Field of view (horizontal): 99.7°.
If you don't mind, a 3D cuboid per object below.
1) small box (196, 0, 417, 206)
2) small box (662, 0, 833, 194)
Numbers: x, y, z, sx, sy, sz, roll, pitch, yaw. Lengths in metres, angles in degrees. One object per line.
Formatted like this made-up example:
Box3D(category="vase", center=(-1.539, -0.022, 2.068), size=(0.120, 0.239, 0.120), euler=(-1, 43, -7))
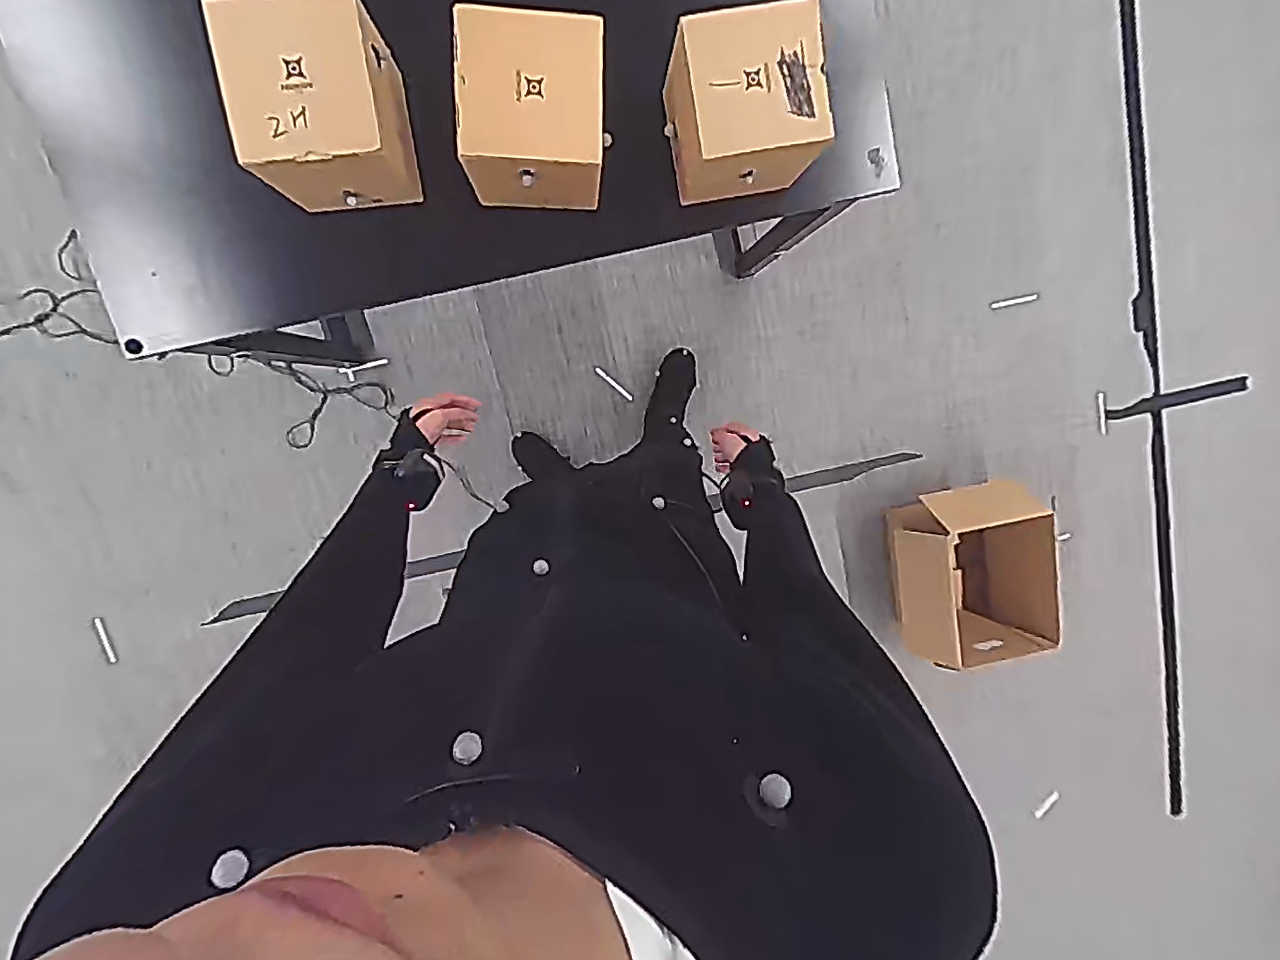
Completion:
Box3D(category="small box", center=(-0.404, -0.475, 0.688), size=(0.168, 0.176, 0.179), euler=(-8, 101, -4))
Box3D(category="small box", center=(0.136, -0.515, 0.736), size=(0.179, 0.176, 0.168), euler=(-12, 100, -3))
